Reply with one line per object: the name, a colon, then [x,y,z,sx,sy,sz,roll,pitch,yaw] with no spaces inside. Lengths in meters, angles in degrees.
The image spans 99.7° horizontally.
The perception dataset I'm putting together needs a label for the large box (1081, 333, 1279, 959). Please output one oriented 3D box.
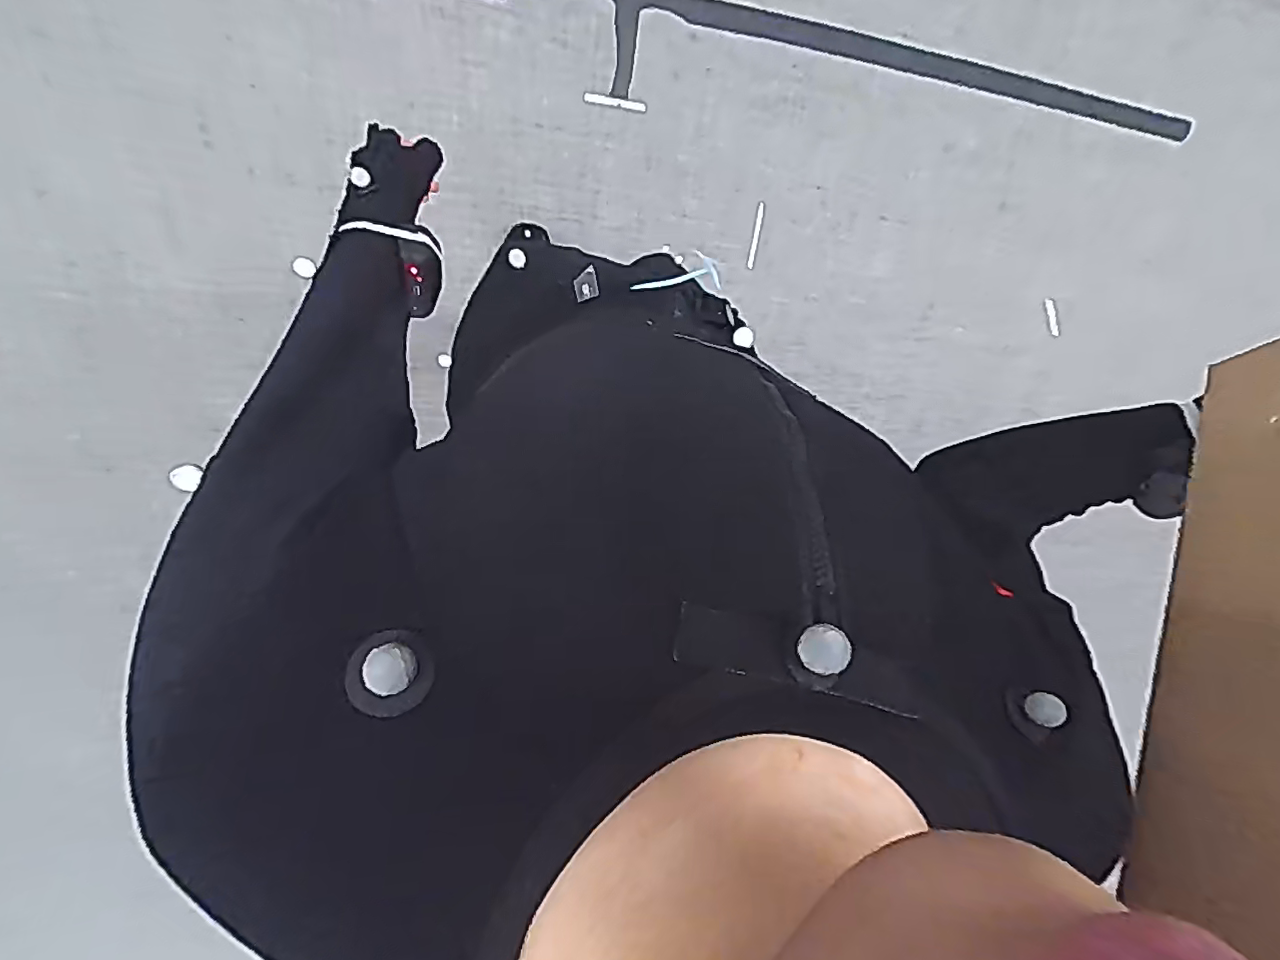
large box: [0.436,0.112,0.157,0.320,0.320,0.408,38,67,-5]
